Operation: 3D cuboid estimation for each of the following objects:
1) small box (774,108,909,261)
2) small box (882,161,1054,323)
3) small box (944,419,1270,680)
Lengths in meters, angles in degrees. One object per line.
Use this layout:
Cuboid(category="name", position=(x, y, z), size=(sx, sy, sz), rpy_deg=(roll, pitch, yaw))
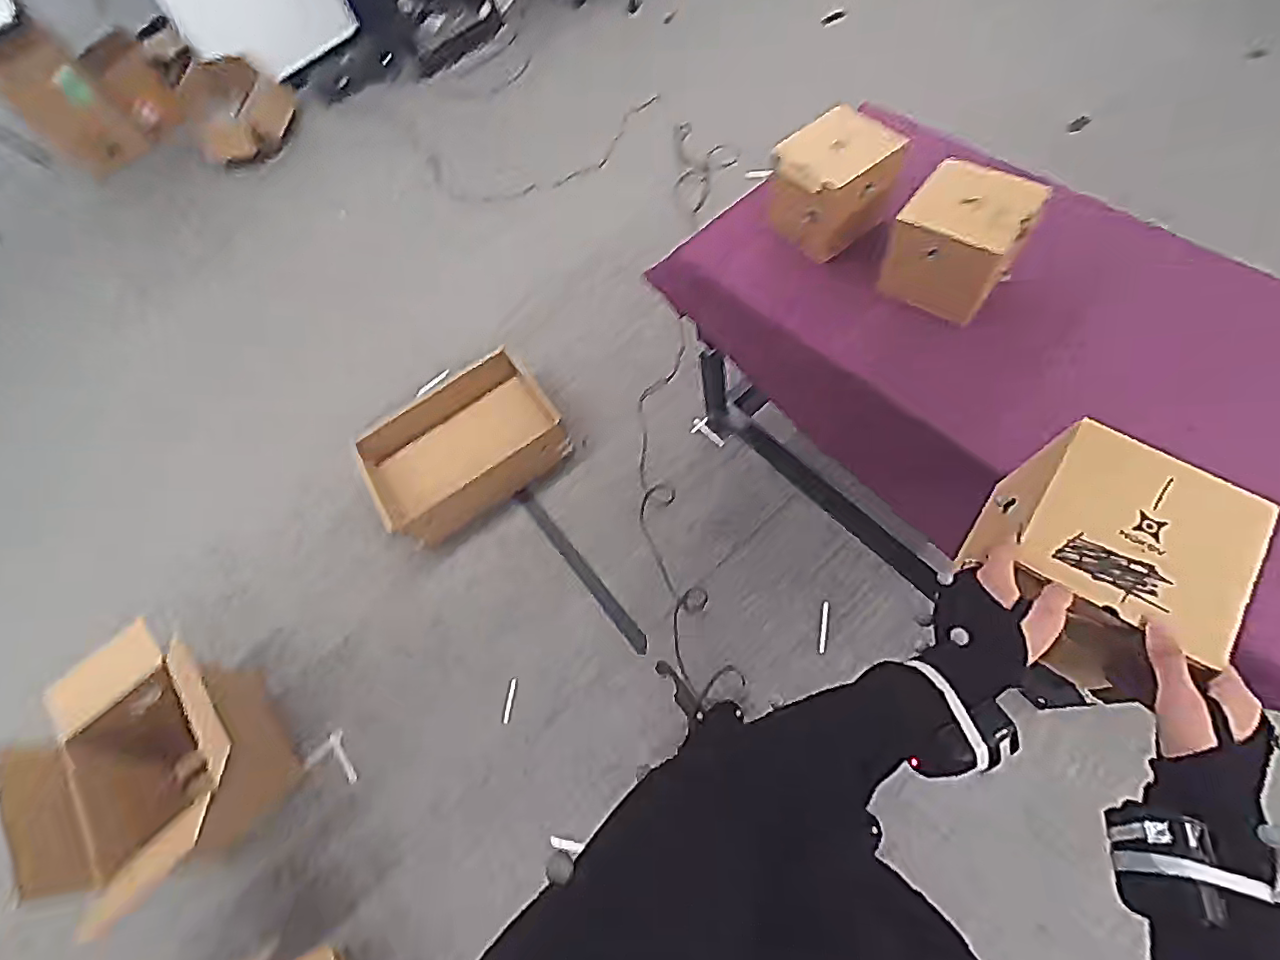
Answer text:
Cuboid(category="small box", position=(0.378, -0.566, 1.052), size=(0.179, 0.176, 0.168), rpy_deg=(-36, 65, -8))
Cuboid(category="small box", position=(0.554, -0.407, 0.943), size=(0.179, 0.176, 0.168), rpy_deg=(36, 76, 23))
Cuboid(category="small box", position=(0.441, 0.079, 0.543), size=(0.168, 0.176, 0.179), rpy_deg=(32, 72, 18))
